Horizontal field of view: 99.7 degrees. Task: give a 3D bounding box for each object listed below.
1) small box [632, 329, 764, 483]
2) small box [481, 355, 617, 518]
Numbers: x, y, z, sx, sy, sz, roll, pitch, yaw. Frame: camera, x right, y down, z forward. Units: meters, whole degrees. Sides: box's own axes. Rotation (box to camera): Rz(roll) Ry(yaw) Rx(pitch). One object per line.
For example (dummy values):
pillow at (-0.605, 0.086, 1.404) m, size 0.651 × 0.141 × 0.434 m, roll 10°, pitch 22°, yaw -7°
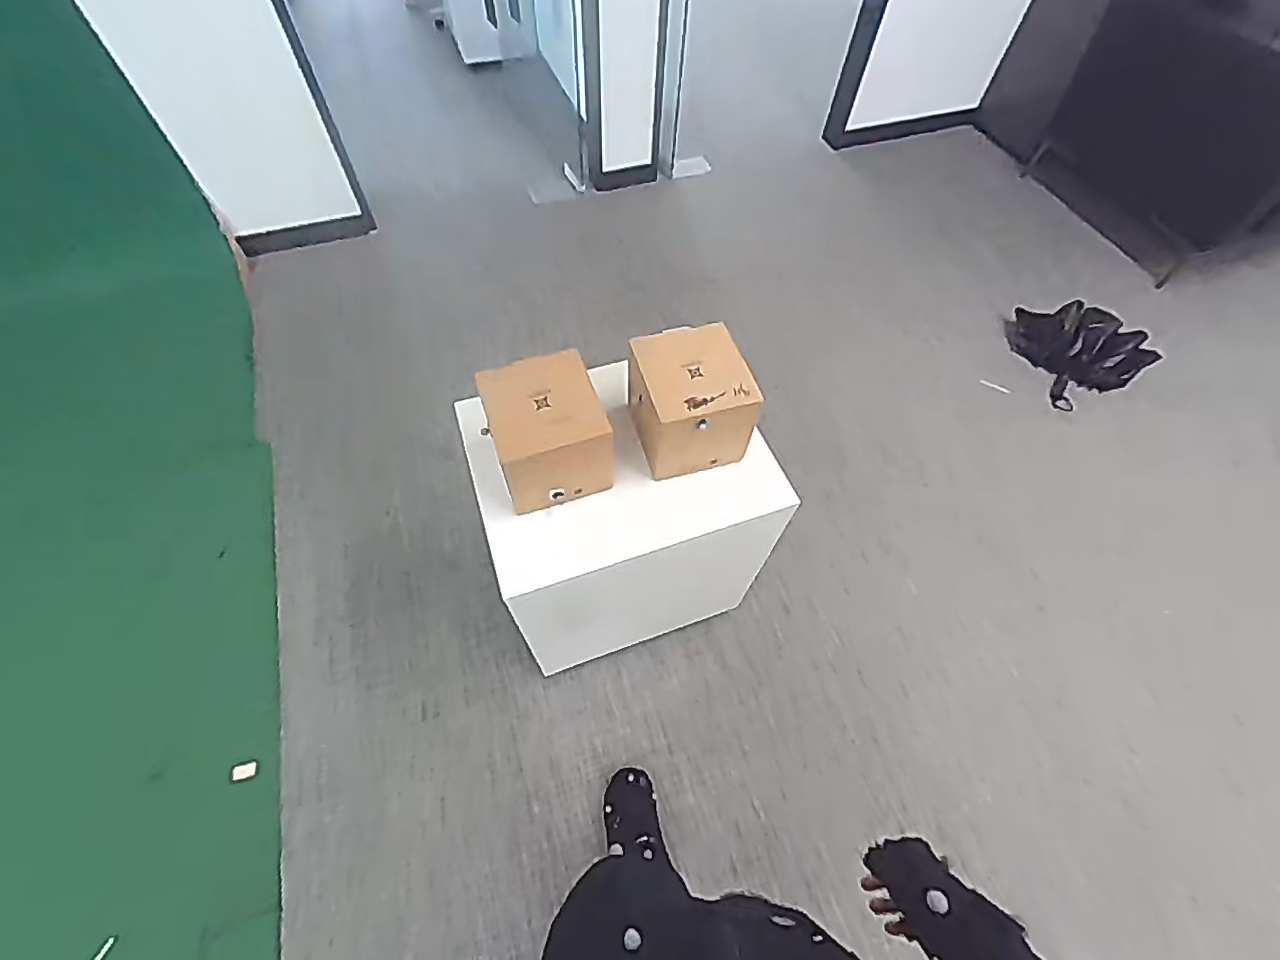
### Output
small box at (0.085, -0.122, 0.911) m, size 0.168 × 0.176 × 0.179 m, roll -13°, pitch 60°, yaw -9°
small box at (-0.142, -0.066, 0.872) m, size 0.168 × 0.176 × 0.179 m, roll -18°, pitch 62°, yaw -12°
